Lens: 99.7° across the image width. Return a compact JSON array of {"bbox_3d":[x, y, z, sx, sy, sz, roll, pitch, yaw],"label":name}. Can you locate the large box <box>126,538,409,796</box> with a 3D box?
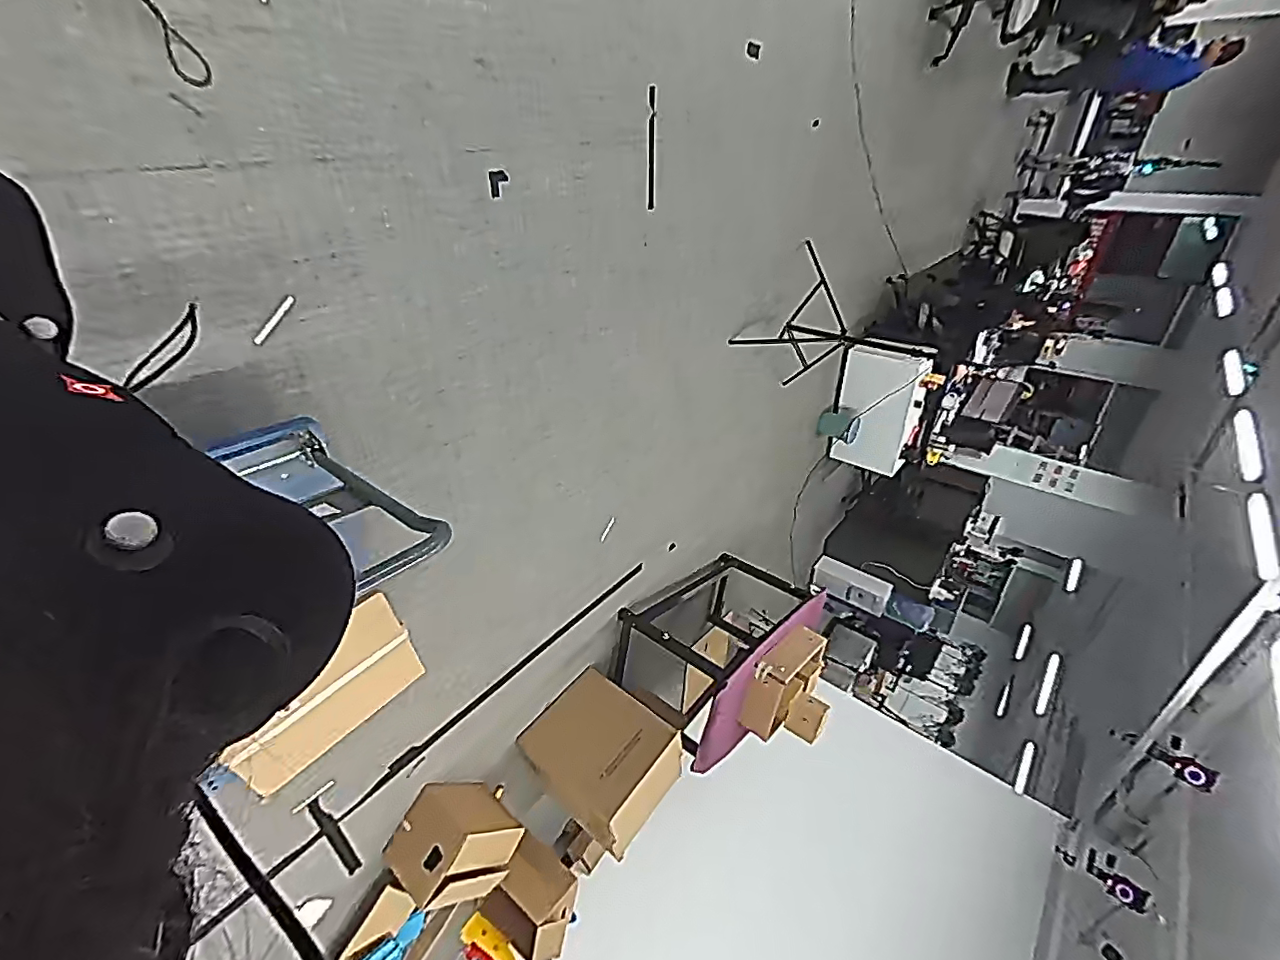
[{"bbox_3d":[-0.838,0.408,1.260,0.408,0.320,0.320,-37,136,-35],"label":"large box"}]
